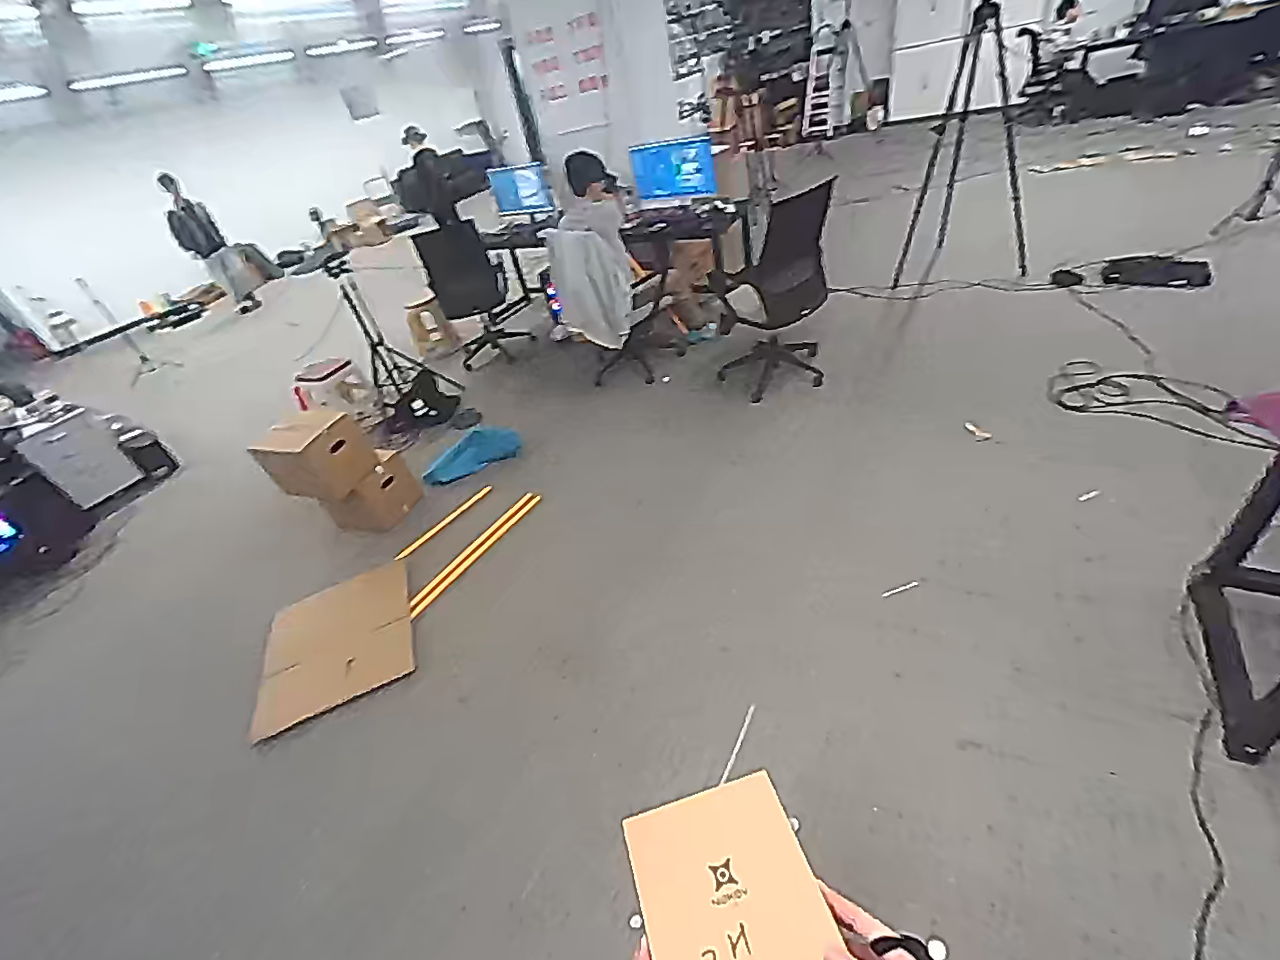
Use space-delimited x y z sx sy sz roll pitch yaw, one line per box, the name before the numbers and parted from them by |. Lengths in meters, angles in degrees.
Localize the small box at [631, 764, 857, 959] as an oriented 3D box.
small box | 0.097 0.440 0.561 0.168 0.176 0.179 -15 36 -6
